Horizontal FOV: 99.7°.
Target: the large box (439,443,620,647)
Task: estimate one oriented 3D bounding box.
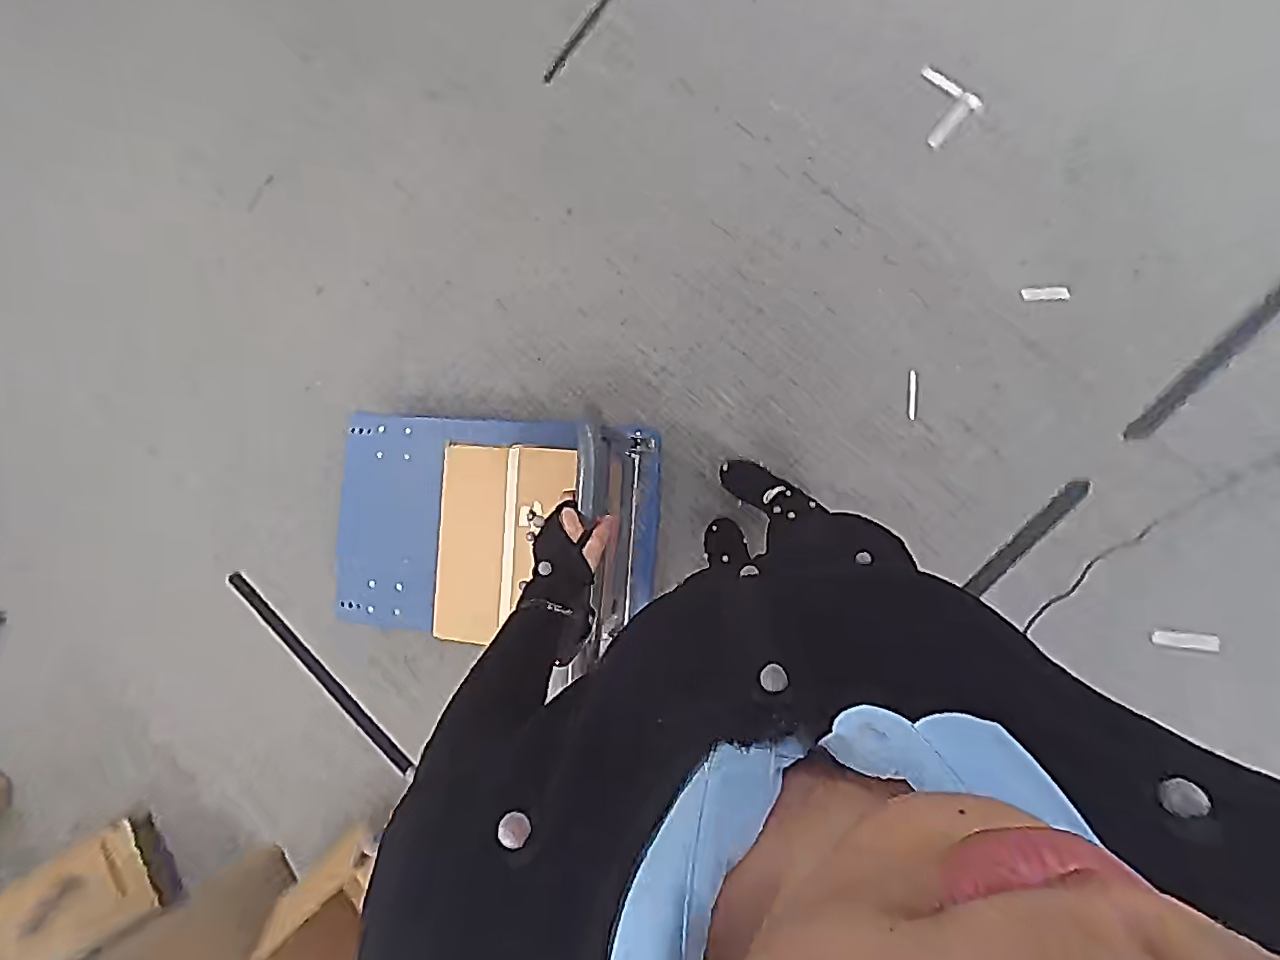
[{"bbox_3d":[-0.233,0.133,1.239,0.320,0.320,0.408,3,89,9],"label":"large box"}]
